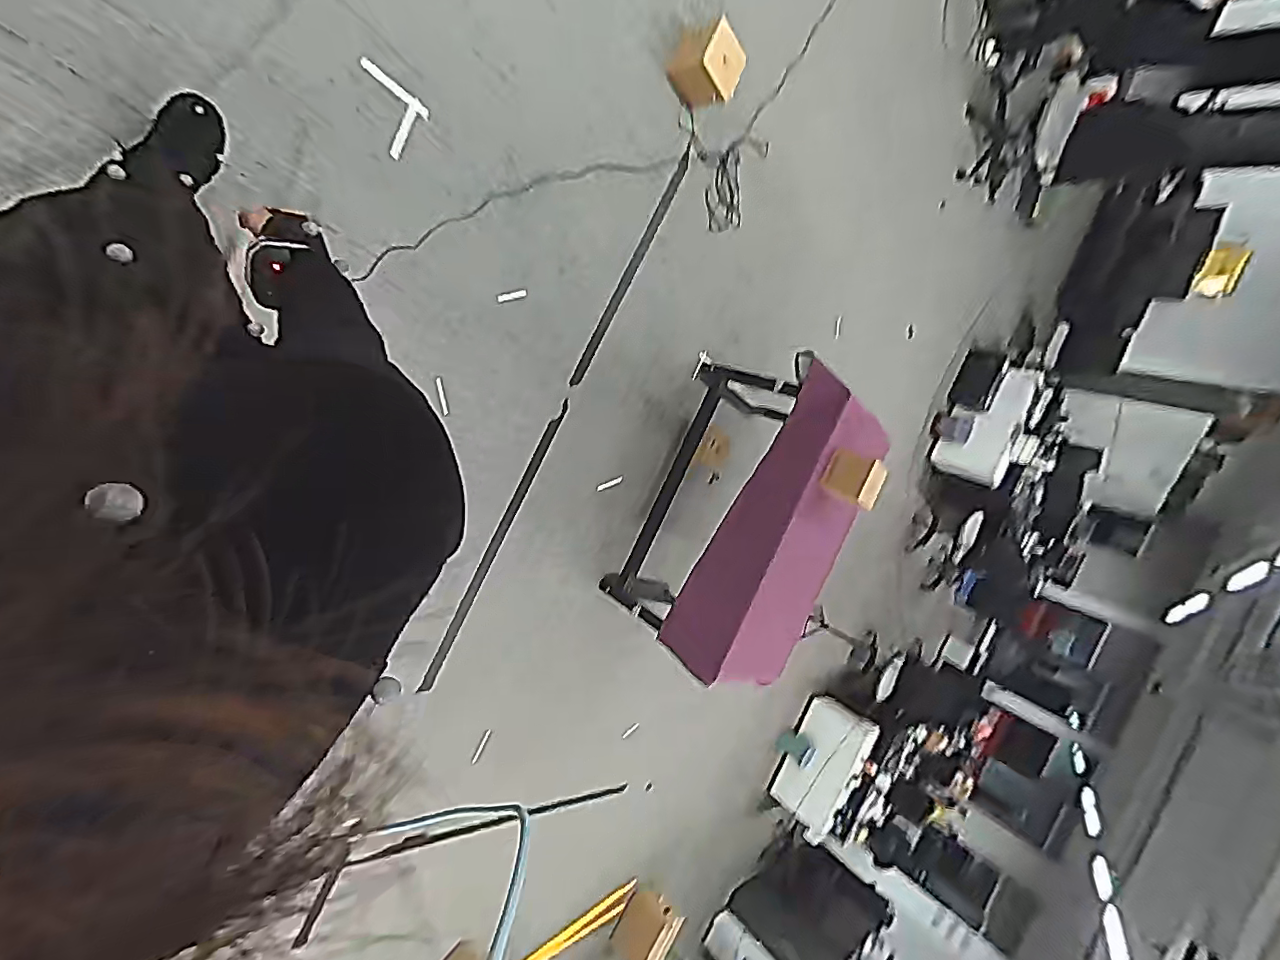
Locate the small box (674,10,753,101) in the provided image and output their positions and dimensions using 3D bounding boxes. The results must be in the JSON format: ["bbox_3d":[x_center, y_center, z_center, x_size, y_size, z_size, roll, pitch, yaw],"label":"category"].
[{"bbox_3d":[0.247,-1.432,1.842,0.179,0.176,0.168,23,92,-49],"label":"small box"}]

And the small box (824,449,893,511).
[{"bbox_3d":[0.840,-0.002,2.079,0.179,0.176,0.168,26,90,-49],"label":"small box"}]
